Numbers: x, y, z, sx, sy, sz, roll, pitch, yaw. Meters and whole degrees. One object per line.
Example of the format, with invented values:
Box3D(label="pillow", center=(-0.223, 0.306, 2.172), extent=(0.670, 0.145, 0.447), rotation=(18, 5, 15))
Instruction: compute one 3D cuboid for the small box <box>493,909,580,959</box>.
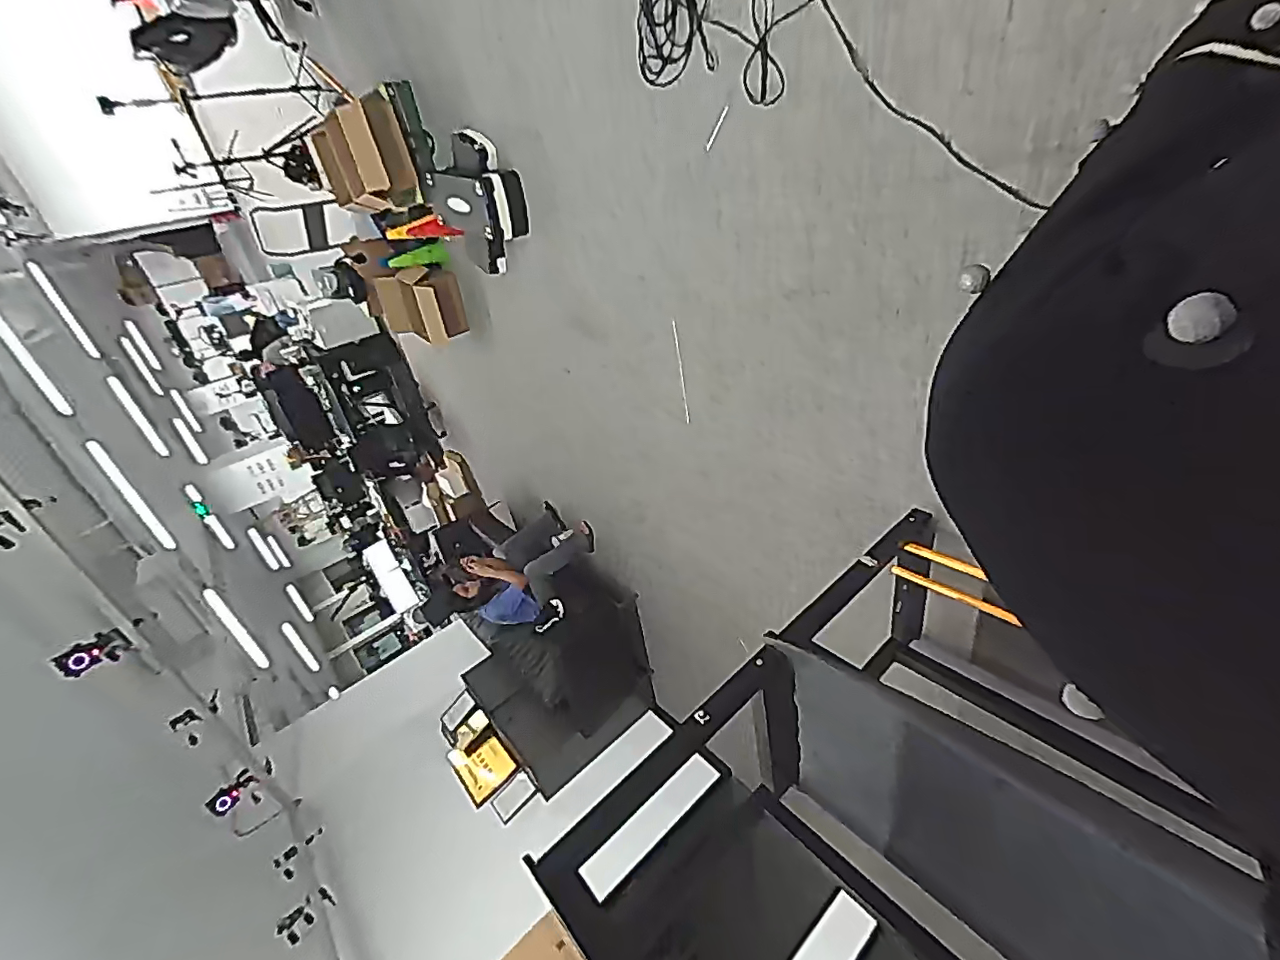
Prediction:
Box3D(label="small box", center=(-0.176, 0.927, 0.966), extent=(0.168, 0.176, 0.179), rotation=(27, 138, 43))
